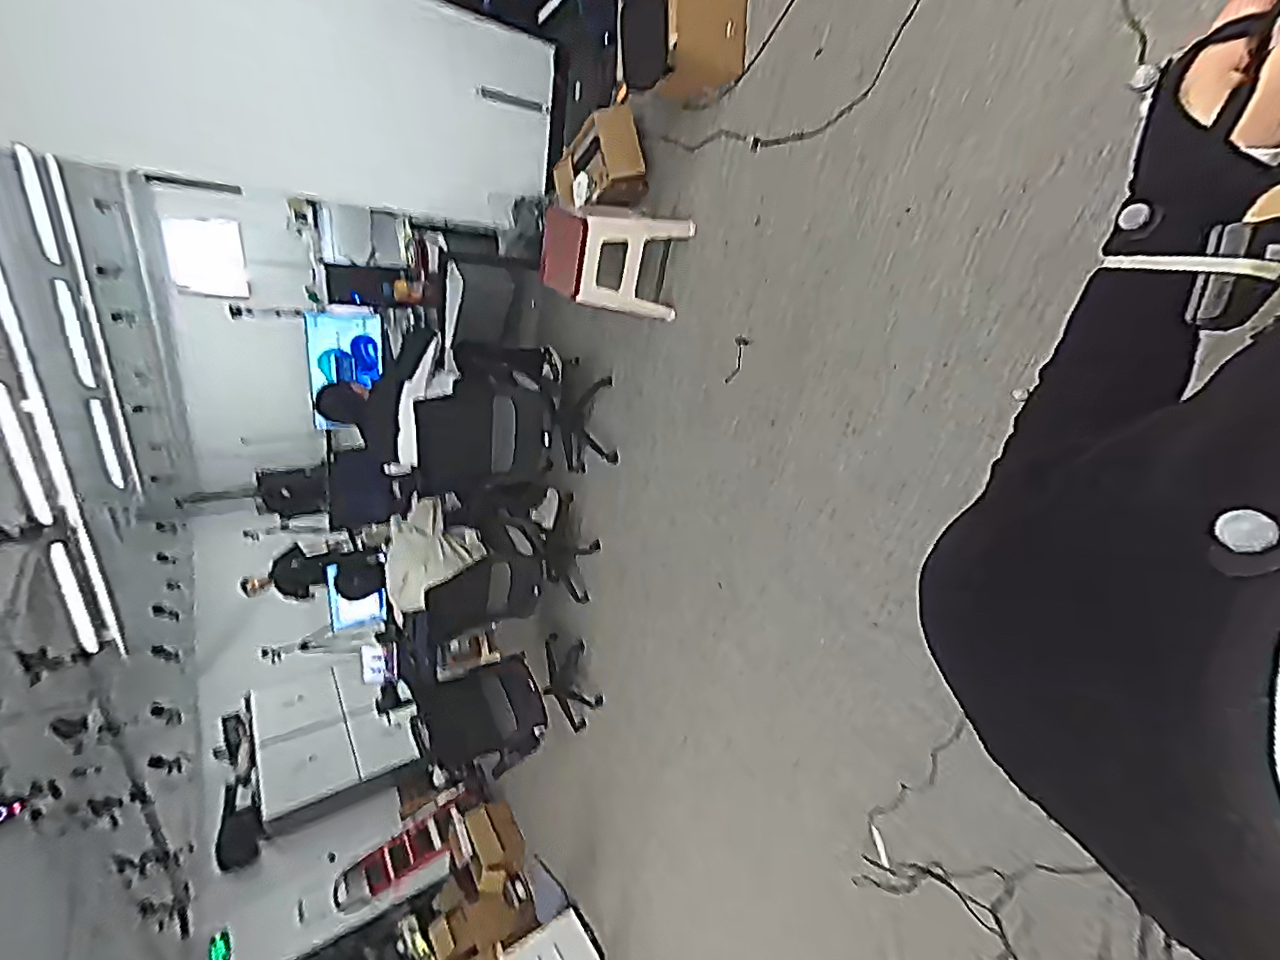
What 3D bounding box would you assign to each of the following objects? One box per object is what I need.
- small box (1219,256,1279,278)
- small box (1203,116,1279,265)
[{"bbox_3d":[1.107,-0.422,0.876,0.168,0.176,0.179,36,126,44],"label":"small box"},{"bbox_3d":[0.978,-0.409,0.780,0.168,0.176,0.179,31,120,45],"label":"small box"}]
